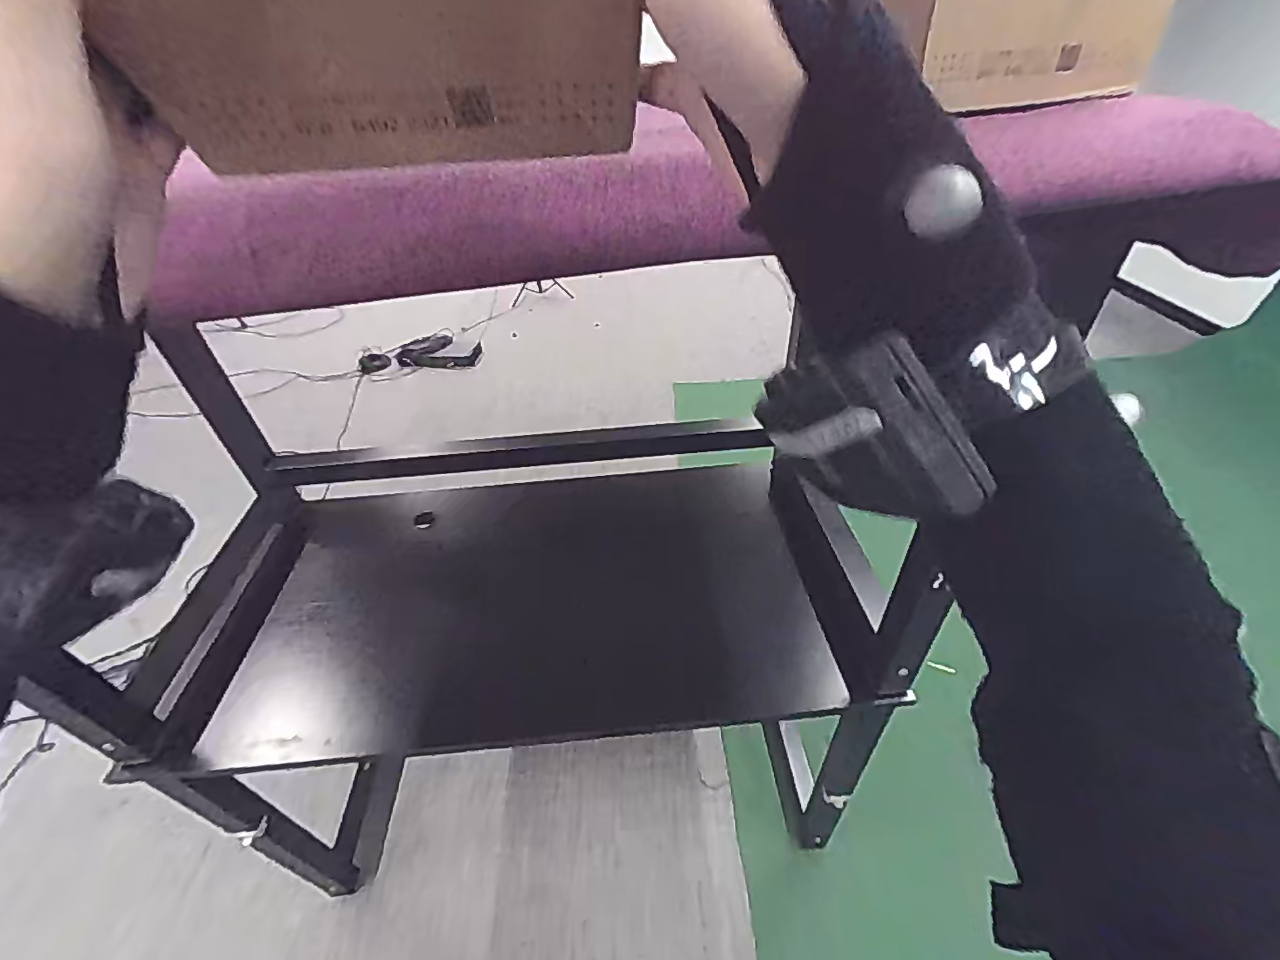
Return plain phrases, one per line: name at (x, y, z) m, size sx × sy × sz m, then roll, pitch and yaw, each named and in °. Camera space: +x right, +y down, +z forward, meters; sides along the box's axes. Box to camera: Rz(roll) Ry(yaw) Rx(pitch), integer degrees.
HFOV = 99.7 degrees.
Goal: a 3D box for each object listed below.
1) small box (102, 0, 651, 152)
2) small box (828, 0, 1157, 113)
small box at (-0.085, -0.227, 0.159) m, size 0.168 × 0.176 × 0.179 m, roll -7°, pitch 75°, yaw -6°
small box at (0.258, -0.380, 0.402) m, size 0.168 × 0.176 × 0.179 m, roll -6°, pitch 37°, yaw -2°
